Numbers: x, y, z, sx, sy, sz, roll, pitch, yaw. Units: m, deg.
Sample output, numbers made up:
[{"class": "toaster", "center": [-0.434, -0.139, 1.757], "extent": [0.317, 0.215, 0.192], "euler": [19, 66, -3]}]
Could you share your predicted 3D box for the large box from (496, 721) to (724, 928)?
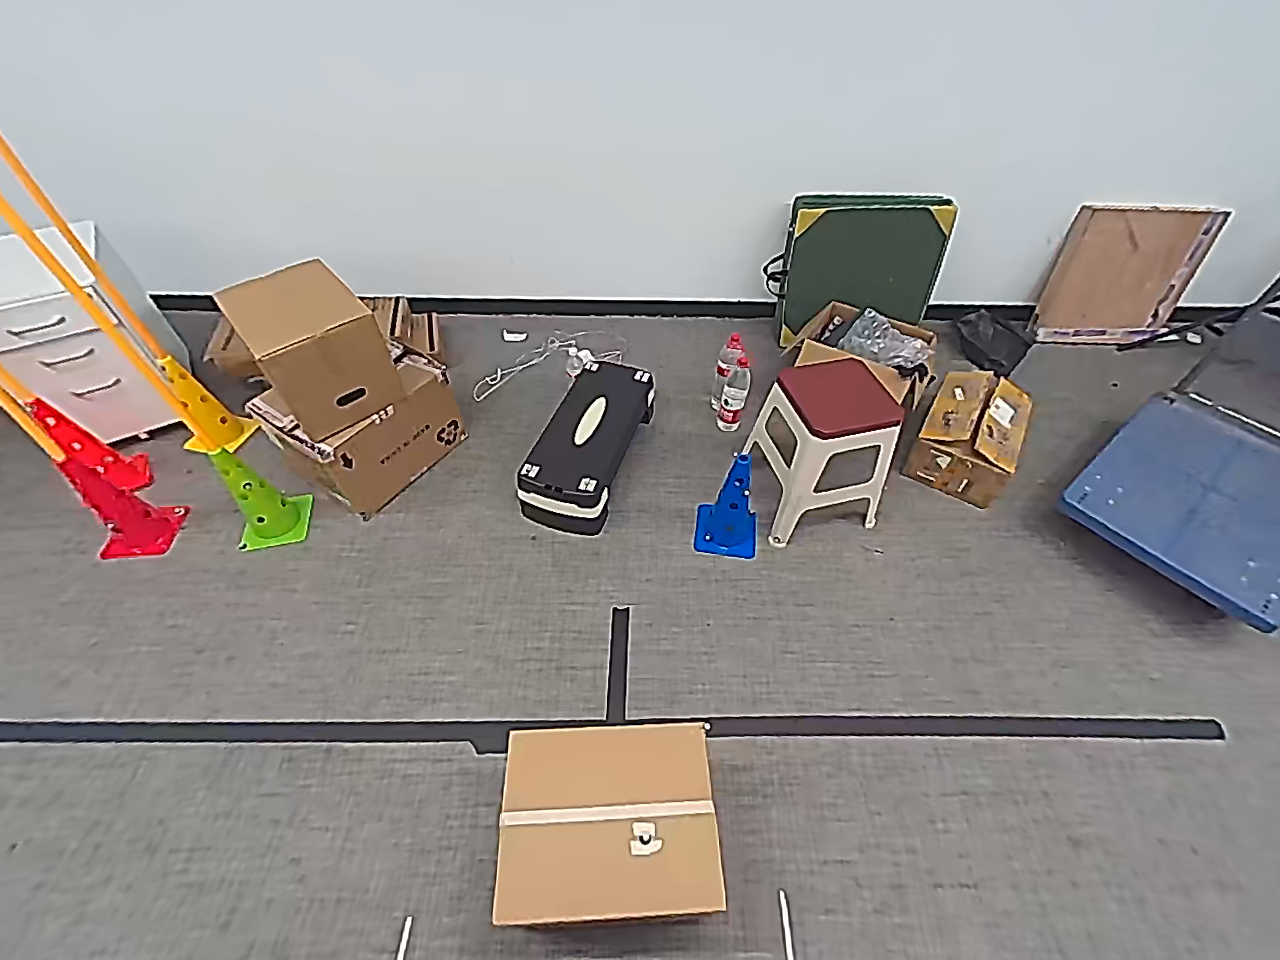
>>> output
[{"class": "large box", "center": [-0.065, 0.725, 1.138], "extent": [0.408, 0.320, 0.320], "euler": [-1, 50, -4]}]
